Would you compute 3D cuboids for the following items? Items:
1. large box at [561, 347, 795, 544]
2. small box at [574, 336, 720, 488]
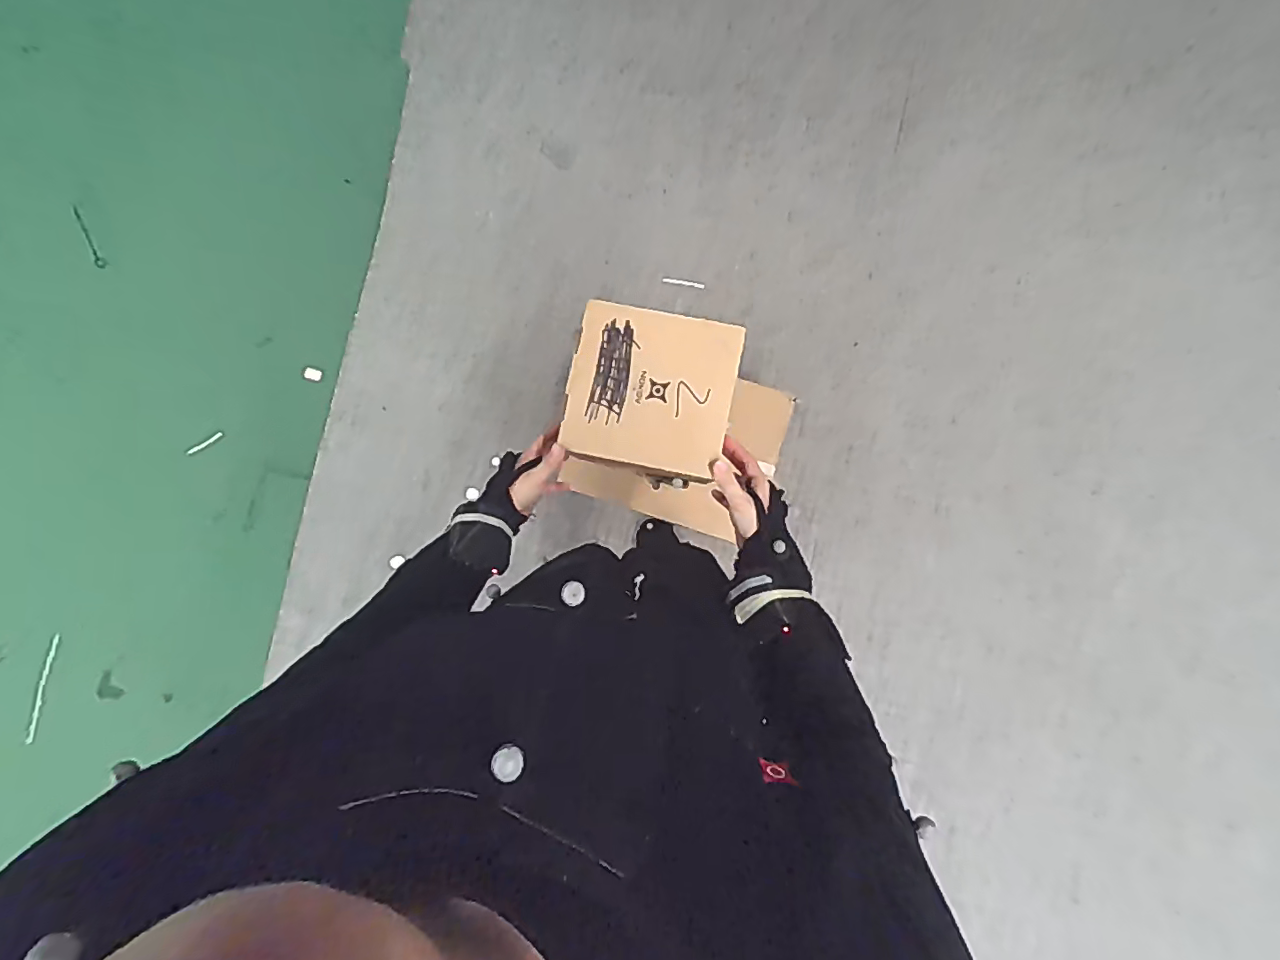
[{"bbox_3d":[0.082,-0.066,1.212,0.408,0.320,0.320,17,89,6],"label":"large box"},{"bbox_3d":[0.015,-0.090,0.813,0.168,0.176,0.179,15,87,4],"label":"small box"}]
